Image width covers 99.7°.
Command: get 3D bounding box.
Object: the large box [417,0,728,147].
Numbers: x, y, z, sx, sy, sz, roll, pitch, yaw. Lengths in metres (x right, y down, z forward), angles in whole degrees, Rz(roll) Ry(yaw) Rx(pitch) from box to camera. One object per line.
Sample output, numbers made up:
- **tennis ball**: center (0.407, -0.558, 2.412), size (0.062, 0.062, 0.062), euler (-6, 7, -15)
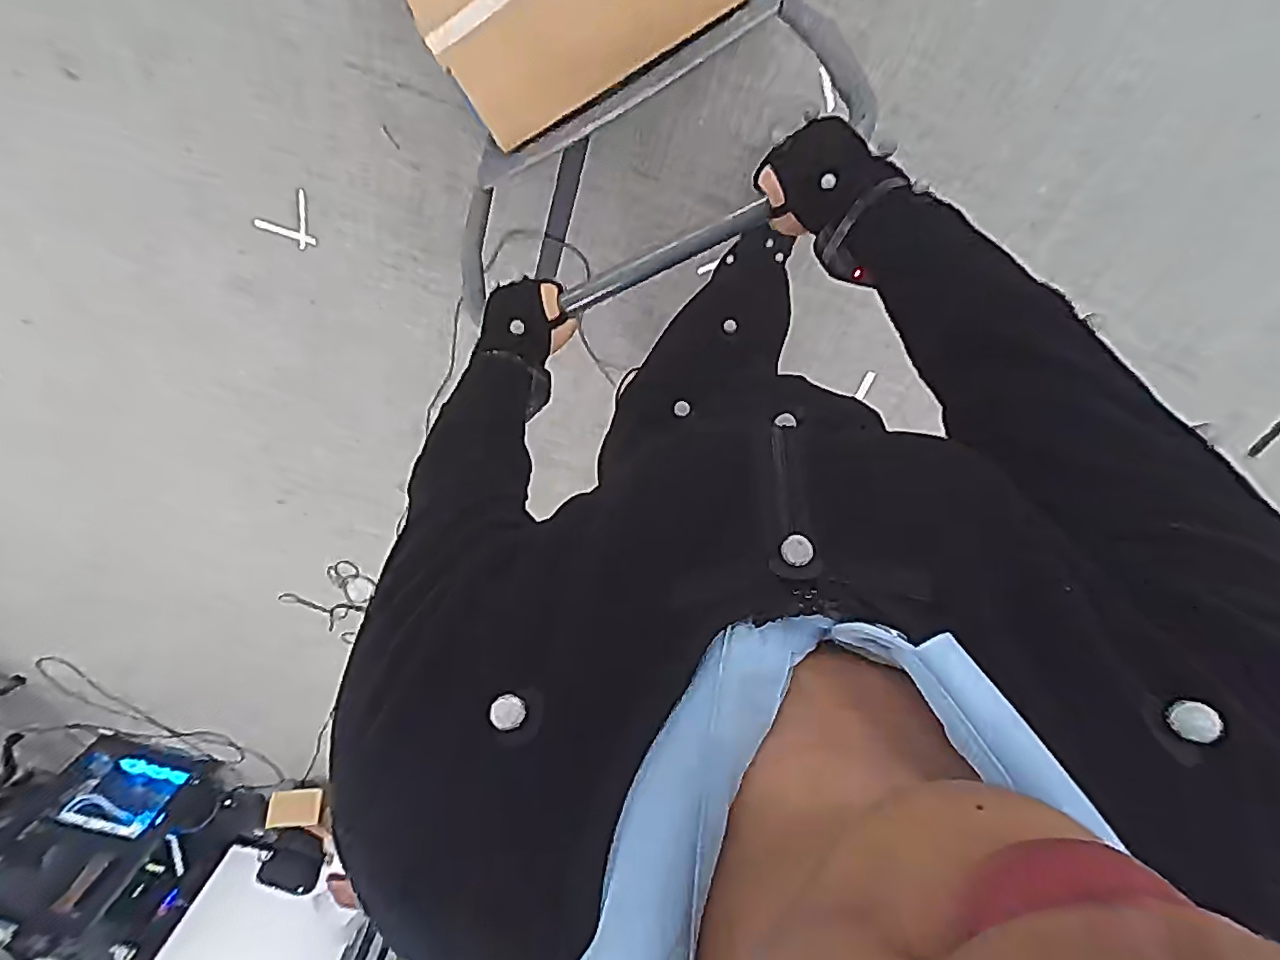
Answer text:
- **large box**: center (-0.109, -0.785, 0.783), size (0.408, 0.320, 0.320), euler (-22, 136, 18)
